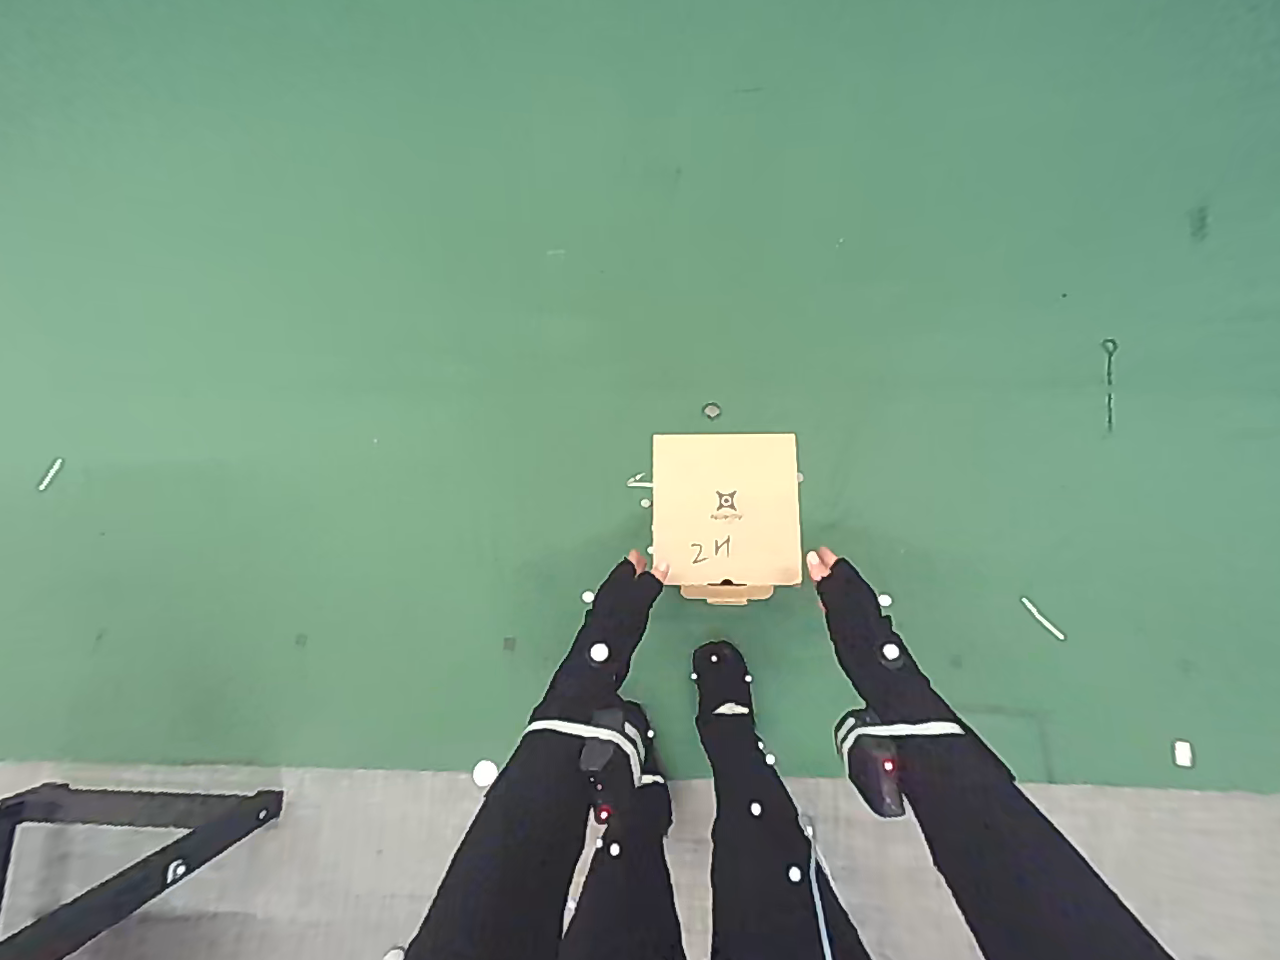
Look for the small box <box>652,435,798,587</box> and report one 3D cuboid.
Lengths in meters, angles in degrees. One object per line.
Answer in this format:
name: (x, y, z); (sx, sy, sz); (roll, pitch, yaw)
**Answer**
small box: (0.099, 0.046, 0.696); (0.168, 0.176, 0.179); (0, 81, 3)
